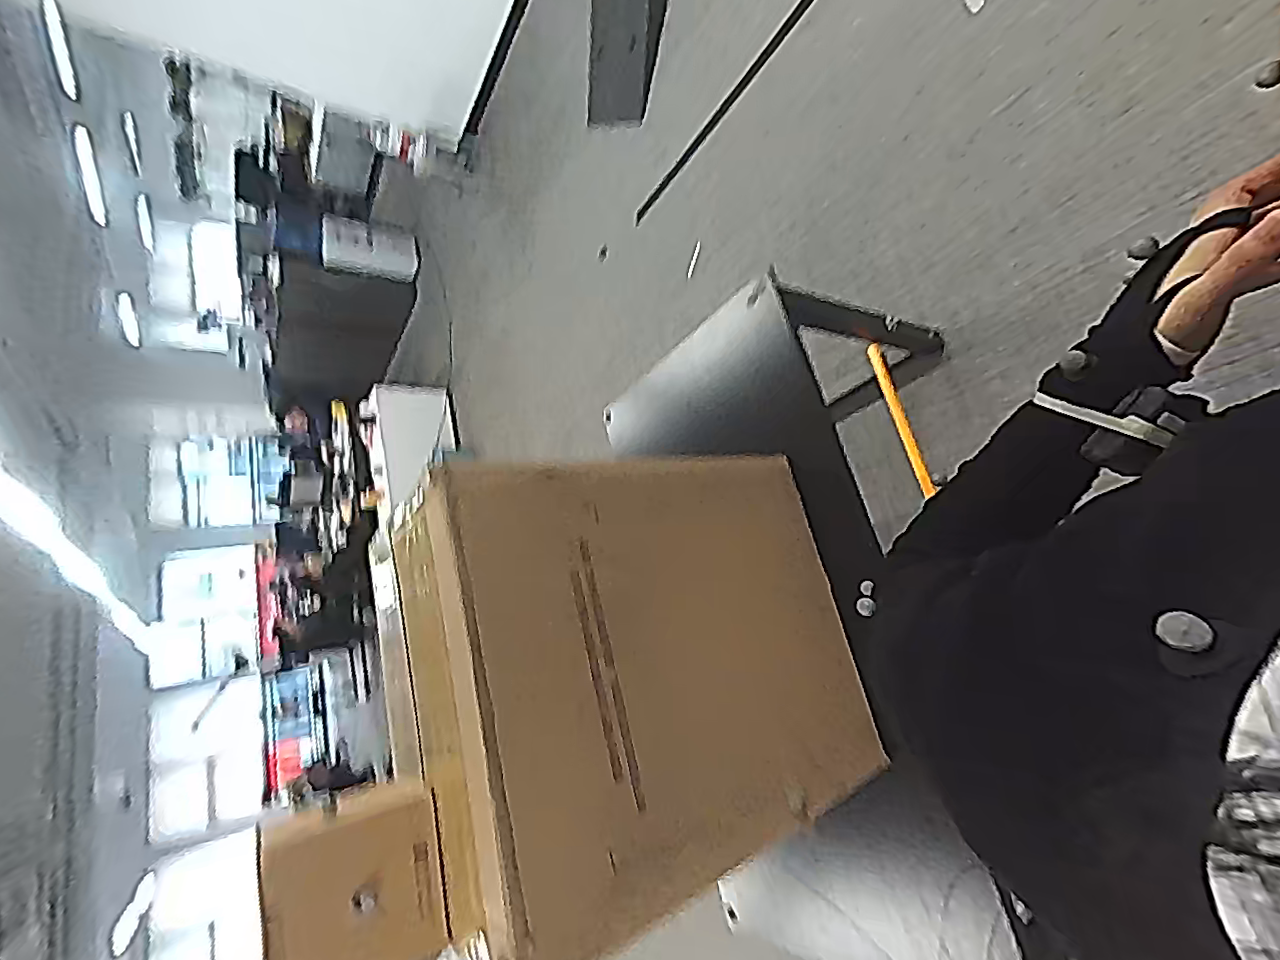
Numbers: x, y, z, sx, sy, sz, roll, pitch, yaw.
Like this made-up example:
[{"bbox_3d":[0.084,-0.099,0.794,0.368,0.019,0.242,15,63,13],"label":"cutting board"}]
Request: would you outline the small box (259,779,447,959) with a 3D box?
[{"bbox_3d":[-0.330,0.464,0.624,0.179,0.176,0.168,-33,65,50],"label":"small box"}]
